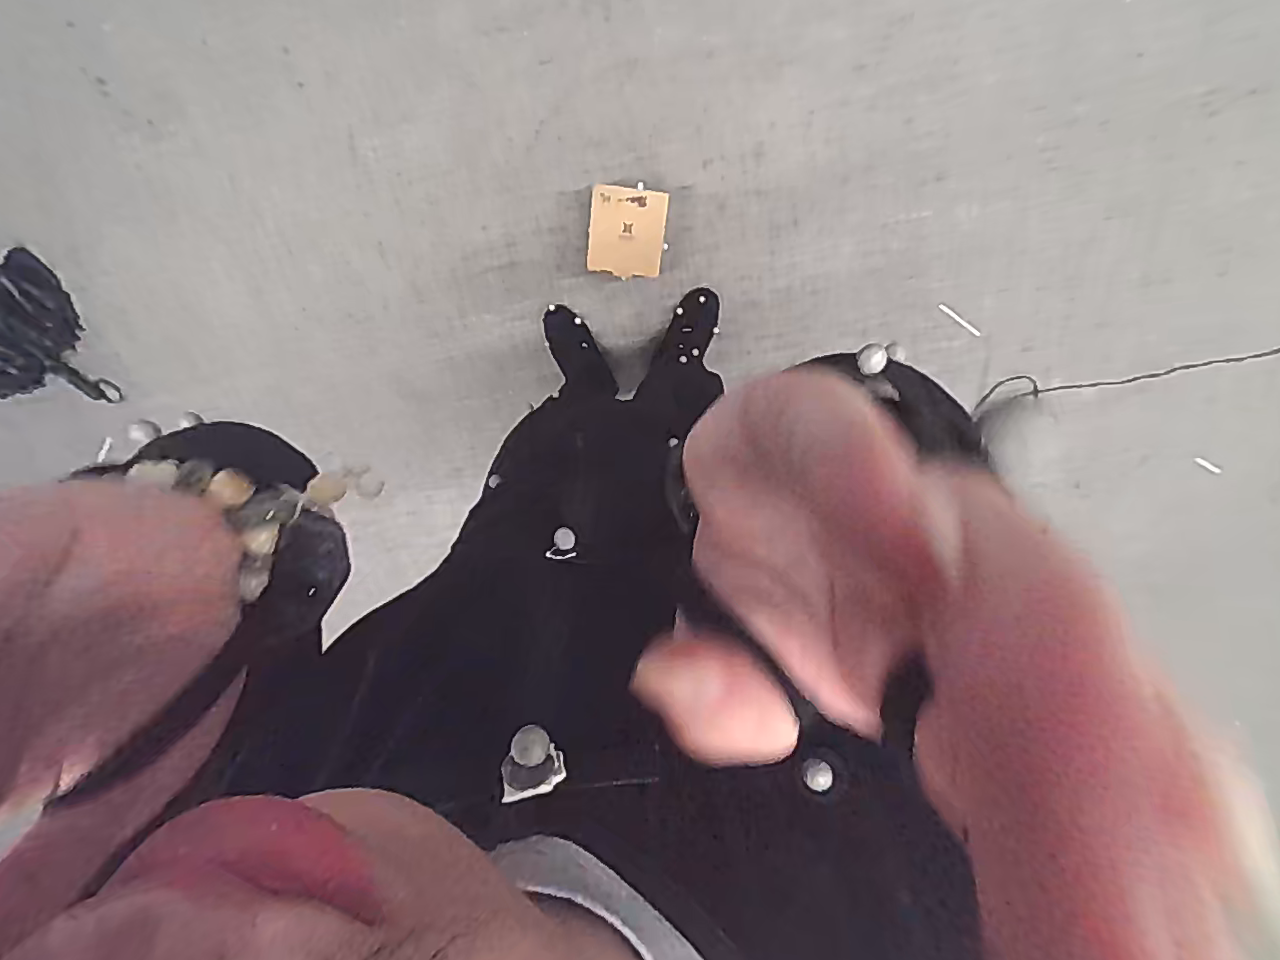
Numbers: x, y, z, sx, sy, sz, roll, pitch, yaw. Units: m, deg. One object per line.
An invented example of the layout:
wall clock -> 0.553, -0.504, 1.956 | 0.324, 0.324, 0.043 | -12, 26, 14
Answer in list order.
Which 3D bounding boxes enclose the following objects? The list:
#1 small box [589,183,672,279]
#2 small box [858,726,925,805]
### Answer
small box -> -0.019, -0.571, 1.248 | 0.168, 0.176, 0.179 | 7, 114, -1
small box -> 0.885, 1.005, 1.908 | 0.168, 0.176, 0.179 | -11, 111, 6
